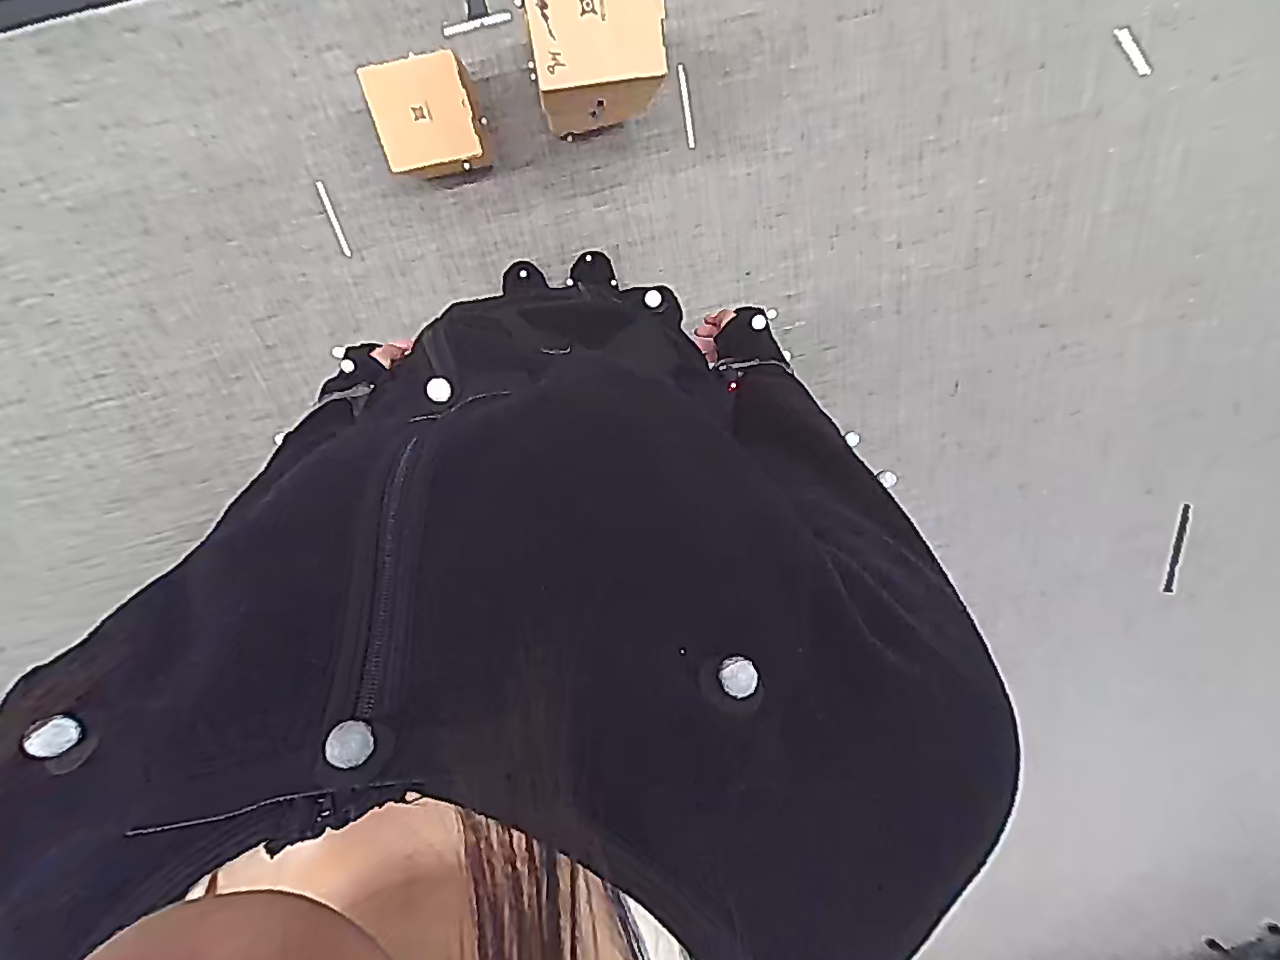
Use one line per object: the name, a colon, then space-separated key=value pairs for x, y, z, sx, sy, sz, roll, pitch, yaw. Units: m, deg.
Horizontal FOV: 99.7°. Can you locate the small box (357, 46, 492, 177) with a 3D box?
small box: x=-0.405 y=-0.700 z=1.048 sx=0.179 sy=0.176 sz=0.168 roll=-14 pitch=116 yaw=-1

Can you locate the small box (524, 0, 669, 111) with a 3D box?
small box: x=-0.066 y=-0.635 z=0.756 sx=0.179 sy=0.176 sz=0.168 roll=-10 pitch=116 yaw=-4

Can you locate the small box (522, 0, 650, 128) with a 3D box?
small box: x=-0.087 y=-0.708 z=0.902 sx=0.179 sy=0.176 sz=0.168 roll=-12 pitch=117 yaw=-2

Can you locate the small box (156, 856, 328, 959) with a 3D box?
small box: x=-0.650 y=0.761 z=0.890 sx=0.179 sy=0.176 sz=0.168 roll=-14 pitch=115 yaw=0
